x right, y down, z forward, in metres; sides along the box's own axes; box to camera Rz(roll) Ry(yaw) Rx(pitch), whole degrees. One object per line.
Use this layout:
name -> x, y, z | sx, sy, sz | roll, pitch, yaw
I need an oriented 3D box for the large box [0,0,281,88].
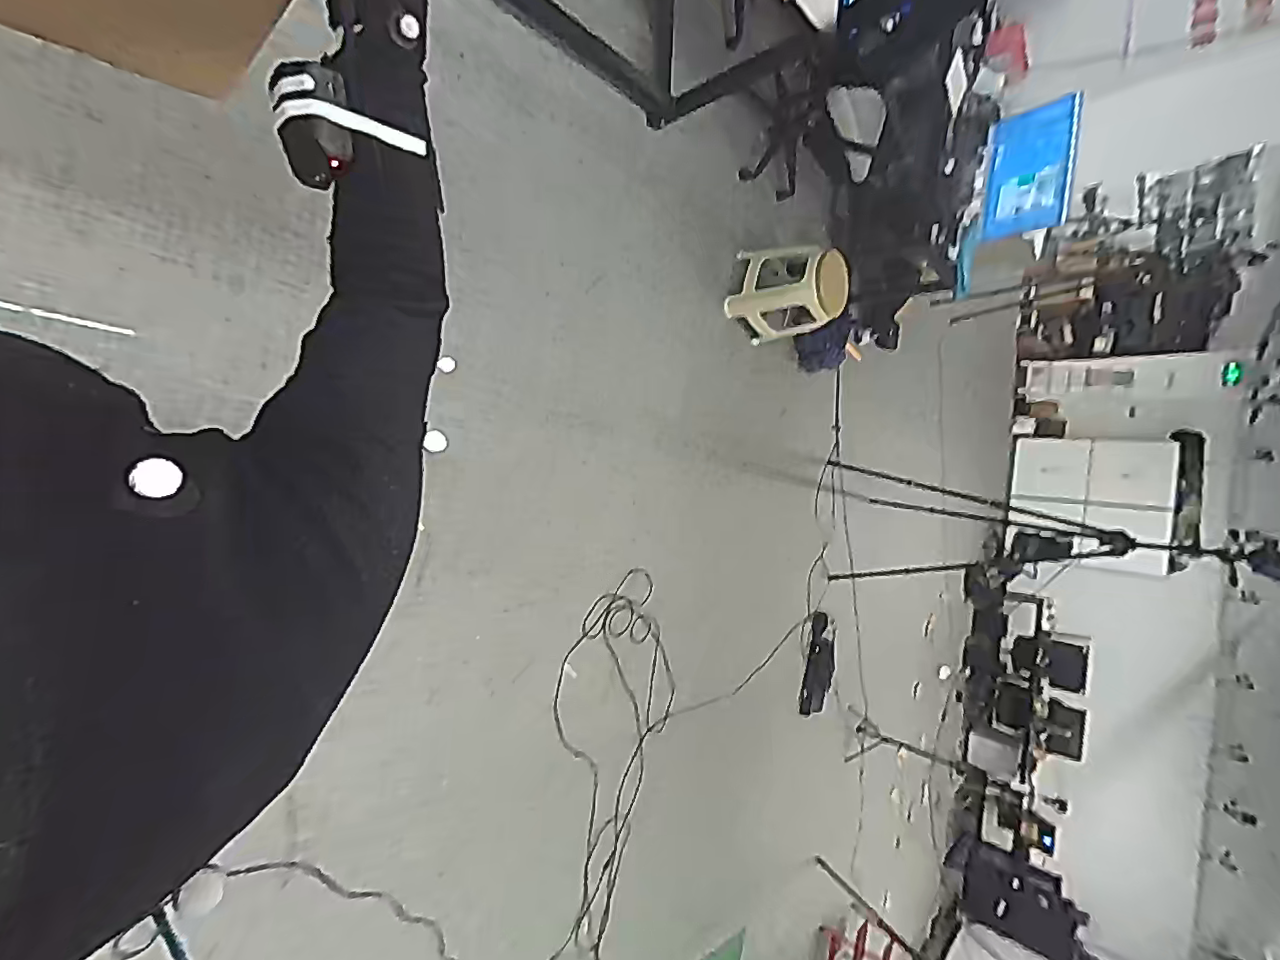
large box -> -0.424, -0.492, 0.263 | 0.408, 0.320, 0.320 | -8, 102, -49
